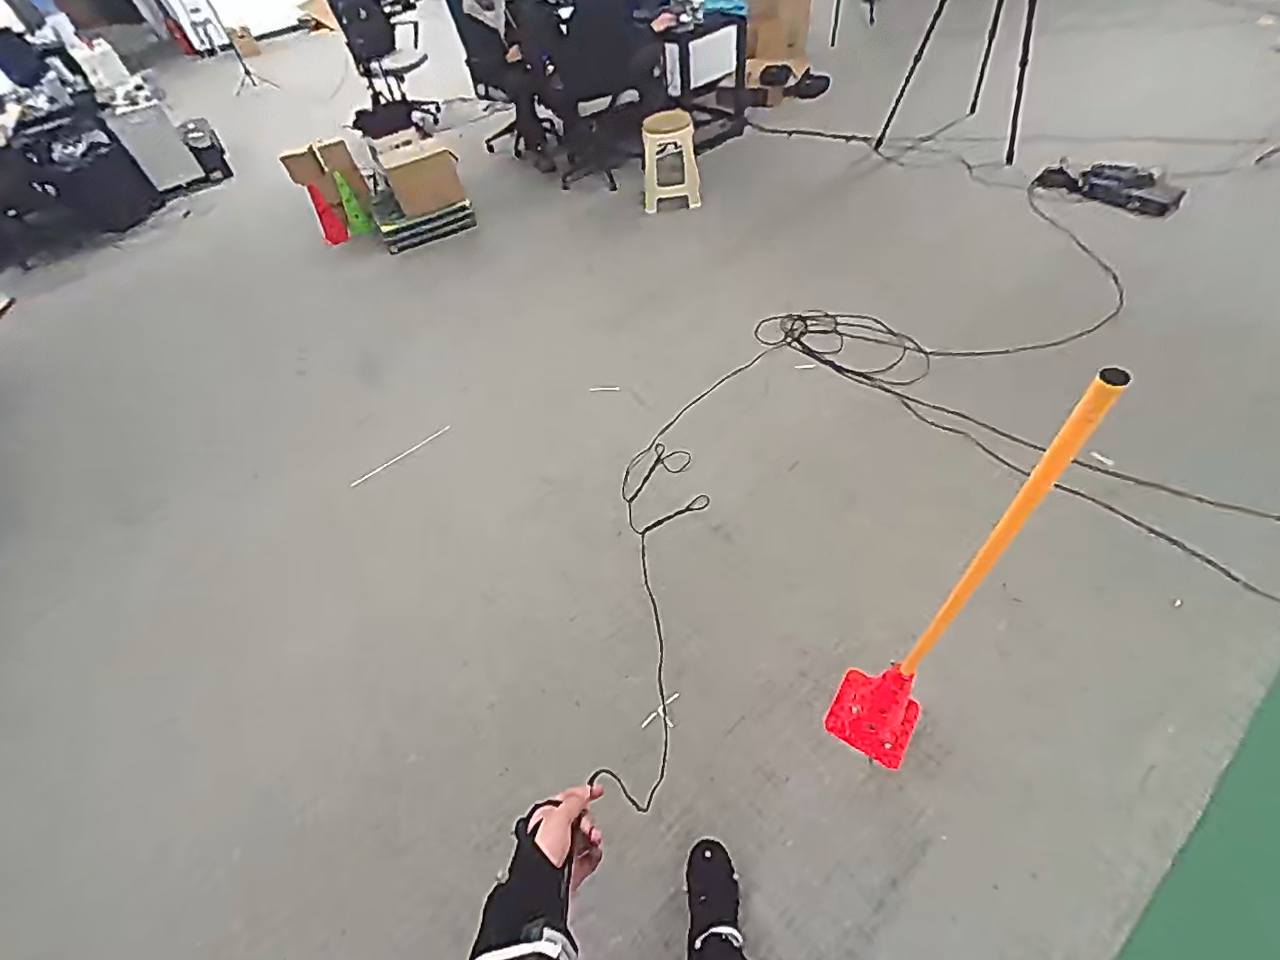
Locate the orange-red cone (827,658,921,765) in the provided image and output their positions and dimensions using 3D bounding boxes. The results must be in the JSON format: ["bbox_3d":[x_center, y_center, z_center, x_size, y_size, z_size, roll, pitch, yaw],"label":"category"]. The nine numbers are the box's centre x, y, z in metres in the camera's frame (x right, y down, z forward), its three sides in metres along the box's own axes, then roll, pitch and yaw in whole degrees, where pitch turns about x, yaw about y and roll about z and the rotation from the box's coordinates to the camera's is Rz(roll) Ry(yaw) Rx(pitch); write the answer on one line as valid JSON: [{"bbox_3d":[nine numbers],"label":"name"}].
[{"bbox_3d":[0.606,0.513,1.309,0.198,0.360,0.199,27,58,26],"label":"orange-red cone"}]
